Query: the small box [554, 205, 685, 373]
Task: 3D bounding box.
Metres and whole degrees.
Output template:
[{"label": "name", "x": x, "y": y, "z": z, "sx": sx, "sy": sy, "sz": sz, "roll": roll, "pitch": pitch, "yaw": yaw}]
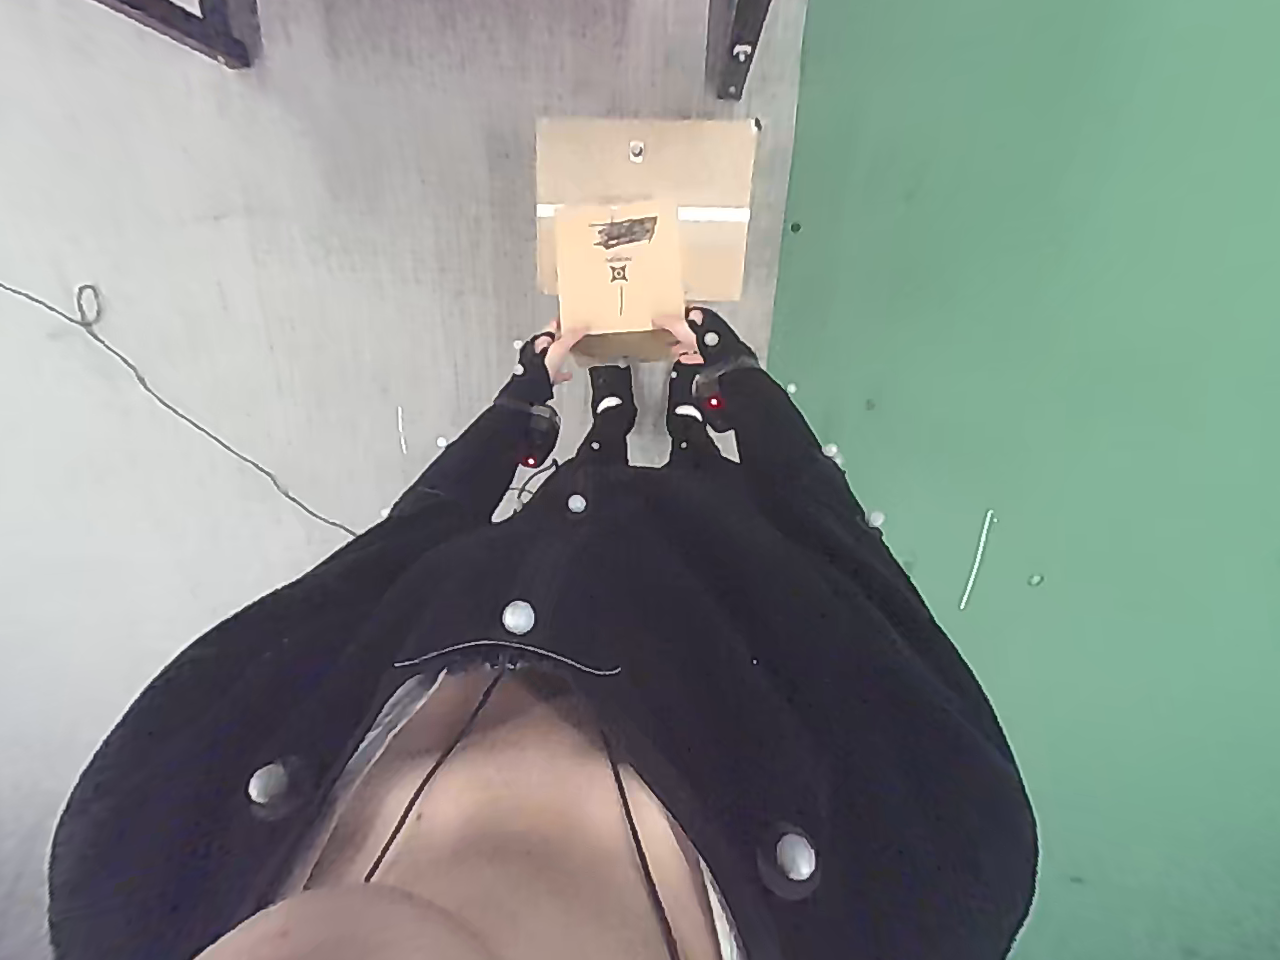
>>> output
[{"label": "small box", "x": -0.027, "y": -0.265, "z": 0.781, "sx": 0.168, "sy": 0.176, "sz": 0.179, "roll": -4, "pitch": 88, "yaw": 1}]
